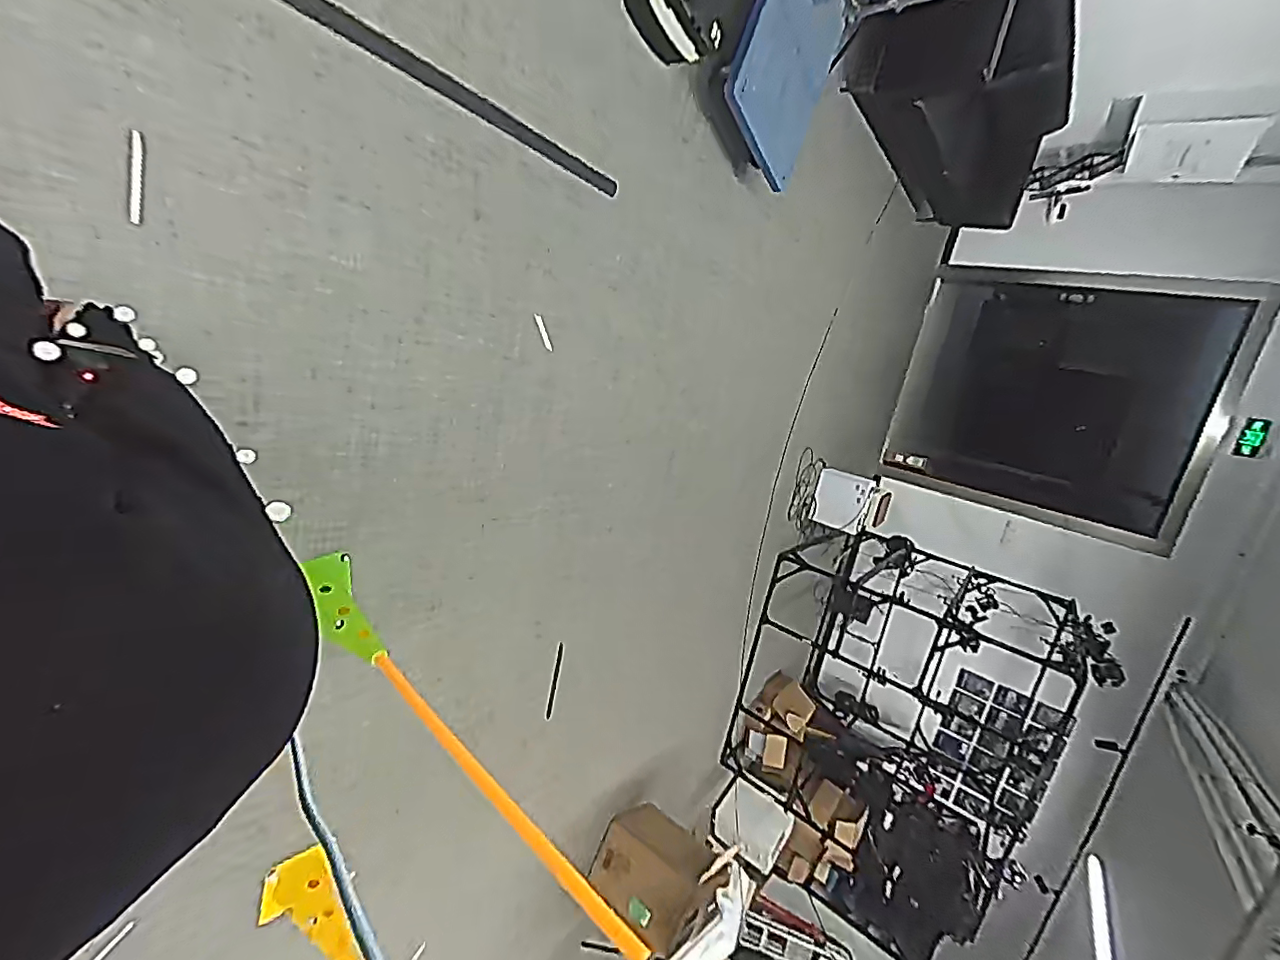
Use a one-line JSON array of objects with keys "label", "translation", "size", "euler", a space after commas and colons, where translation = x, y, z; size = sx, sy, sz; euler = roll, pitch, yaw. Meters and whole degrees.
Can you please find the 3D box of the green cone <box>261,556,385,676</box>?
[{"label": "green cone", "translation": [-0.739, 0.366, 1.322], "size": [0.200, 0.368, 0.202], "euler": [-18, 123, -49]}]
